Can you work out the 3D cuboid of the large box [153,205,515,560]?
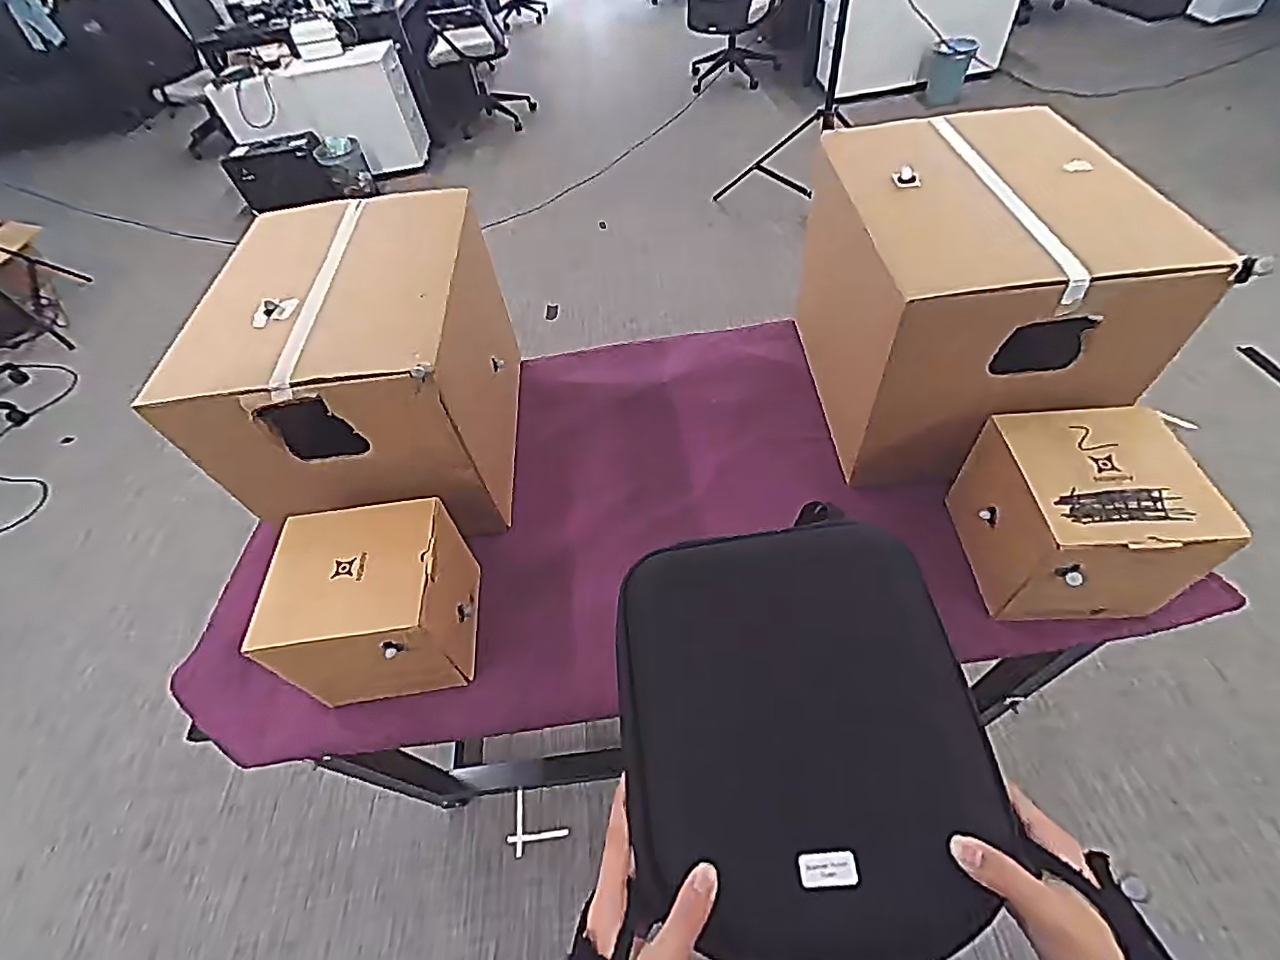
[{"bbox_3d":[-0.374,-0.142,0.800,0.320,0.320,0.408,-8,54,0],"label":"large box"}]
